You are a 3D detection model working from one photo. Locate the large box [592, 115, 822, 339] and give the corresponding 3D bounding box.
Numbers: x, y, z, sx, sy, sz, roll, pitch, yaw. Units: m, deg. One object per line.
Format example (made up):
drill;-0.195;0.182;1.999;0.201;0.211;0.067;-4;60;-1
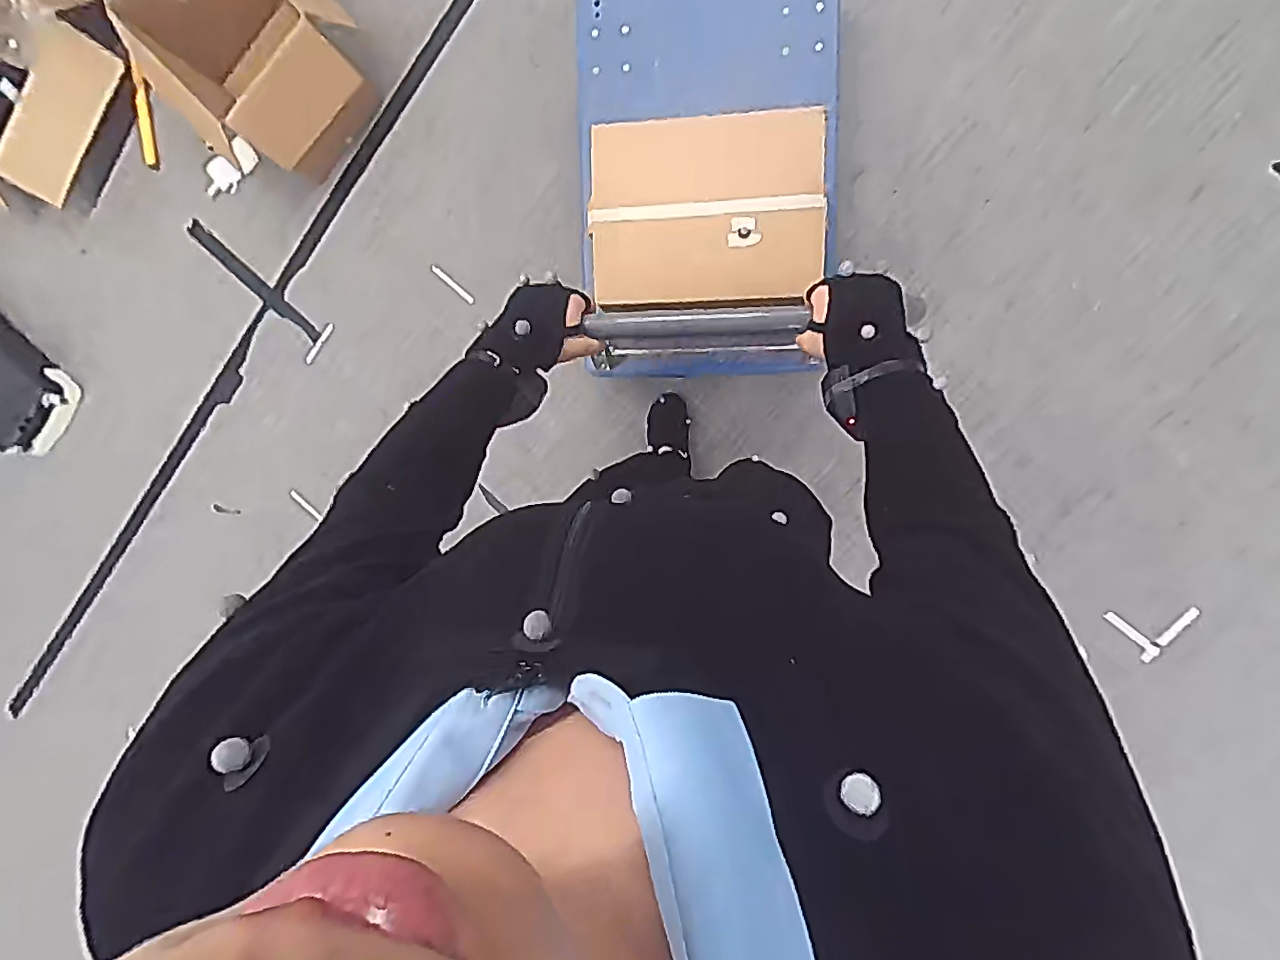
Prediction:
large box;0.130;-0.478;1.100;0.408;0.320;0.320;0;95;6
